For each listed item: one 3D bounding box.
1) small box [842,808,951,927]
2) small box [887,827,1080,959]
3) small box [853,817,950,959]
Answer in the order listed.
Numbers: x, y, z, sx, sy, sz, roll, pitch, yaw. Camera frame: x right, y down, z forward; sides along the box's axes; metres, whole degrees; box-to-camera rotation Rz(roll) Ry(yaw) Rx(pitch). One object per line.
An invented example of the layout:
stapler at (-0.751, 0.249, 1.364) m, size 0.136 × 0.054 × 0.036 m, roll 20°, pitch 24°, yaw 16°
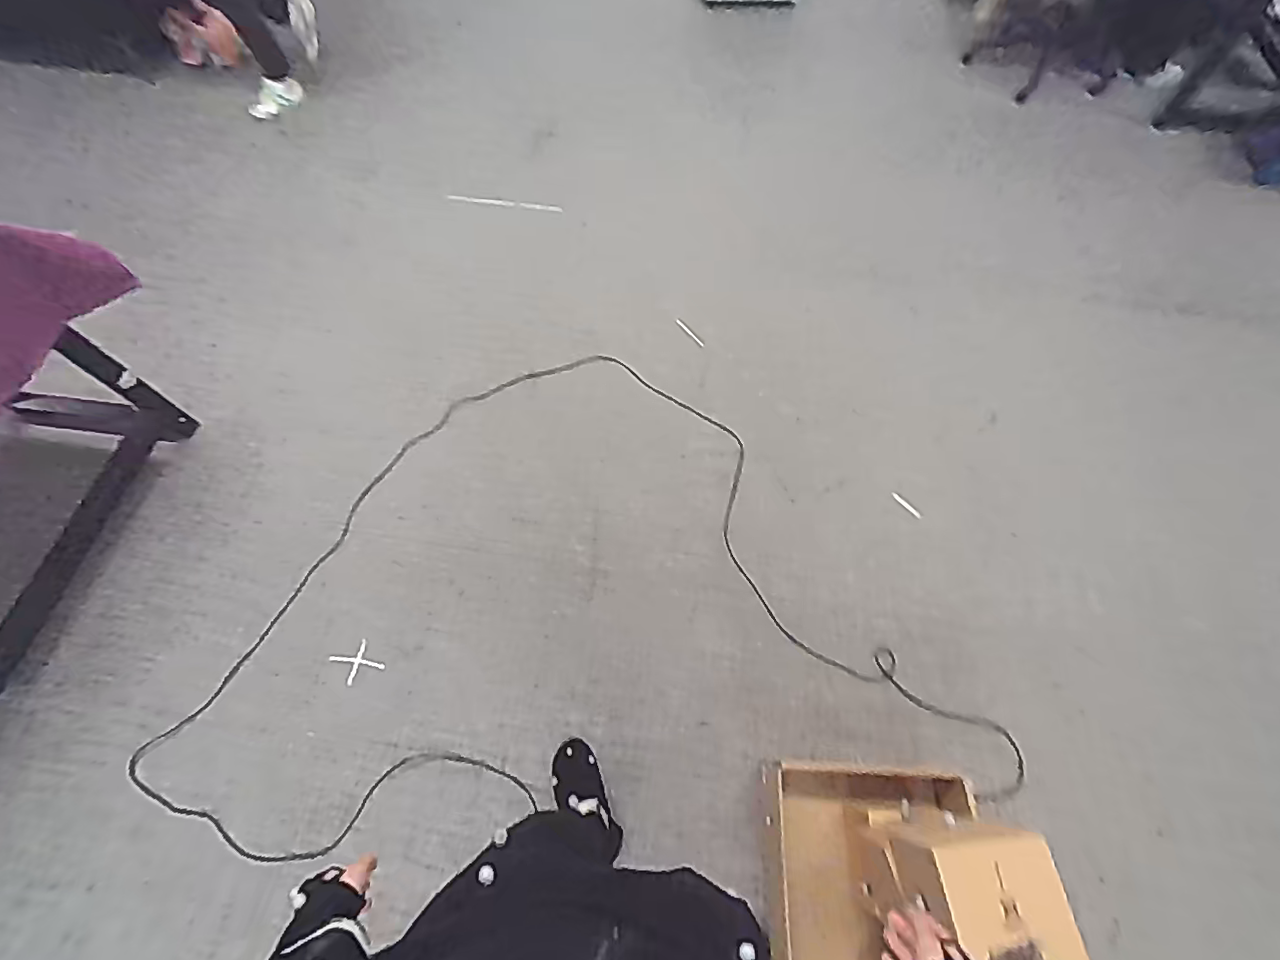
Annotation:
small box at (0.520, 0.777, 1.092) m, size 0.168 × 0.176 × 0.179 m, roll 3°, pitch 66°, yaw 3°
small box at (0.496, 0.634, 0.798) m, size 0.168 × 0.176 × 0.179 m, roll -6°, pitch 65°, yaw -1°
small box at (0.501, 0.715, 0.942) m, size 0.168 × 0.176 × 0.179 m, roll -12°, pitch 65°, yaw -4°
